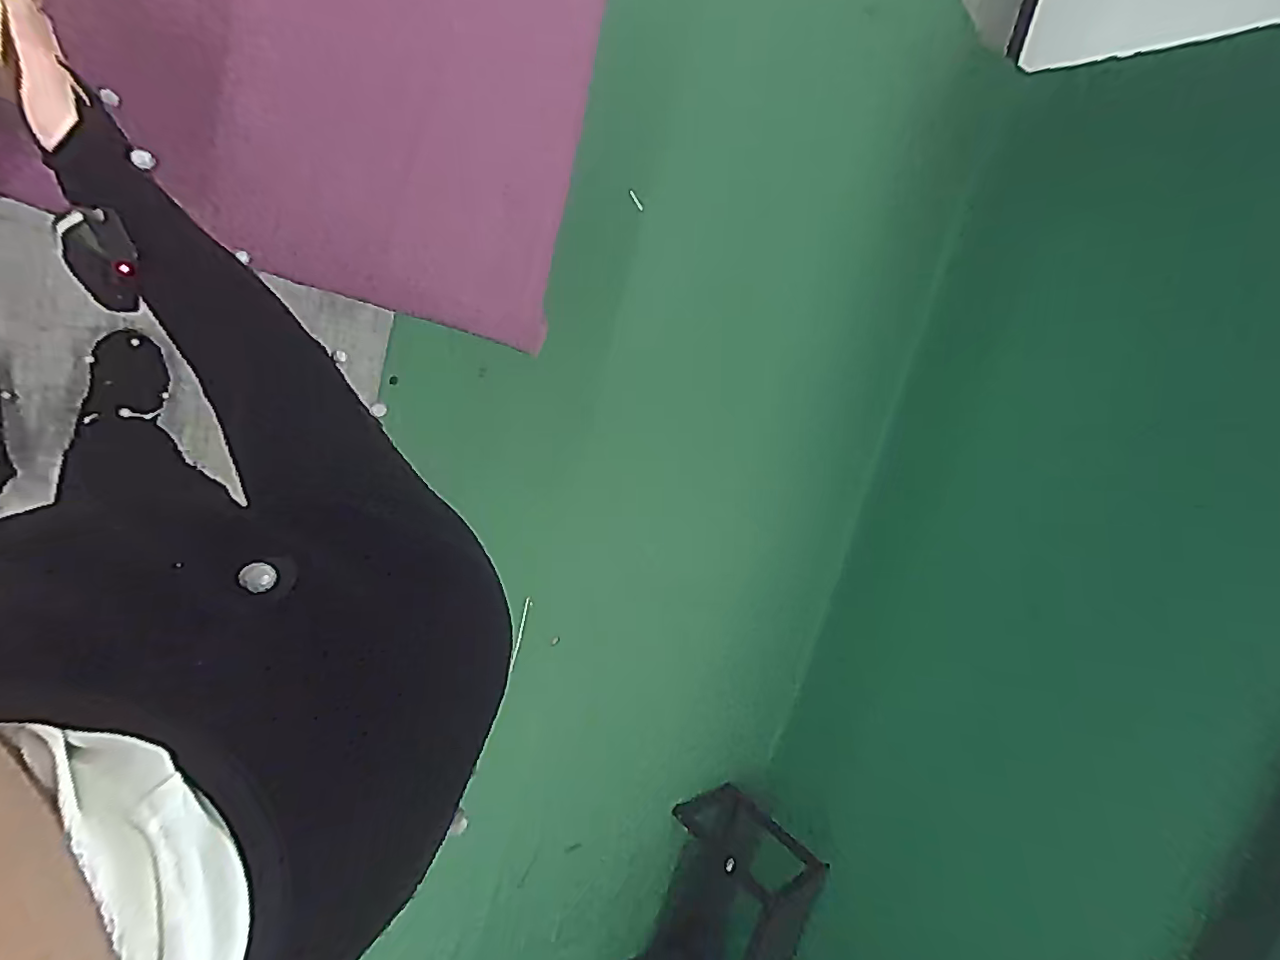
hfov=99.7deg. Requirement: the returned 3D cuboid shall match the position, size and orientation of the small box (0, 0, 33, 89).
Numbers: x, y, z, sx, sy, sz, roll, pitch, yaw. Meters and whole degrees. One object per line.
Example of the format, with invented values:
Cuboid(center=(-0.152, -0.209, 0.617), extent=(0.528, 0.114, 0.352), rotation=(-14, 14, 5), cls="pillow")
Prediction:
Cuboid(center=(-0.571, -0.430, 0.386), extent=(0.168, 0.176, 0.179), rotation=(7, 102, -42), cls="small box")
